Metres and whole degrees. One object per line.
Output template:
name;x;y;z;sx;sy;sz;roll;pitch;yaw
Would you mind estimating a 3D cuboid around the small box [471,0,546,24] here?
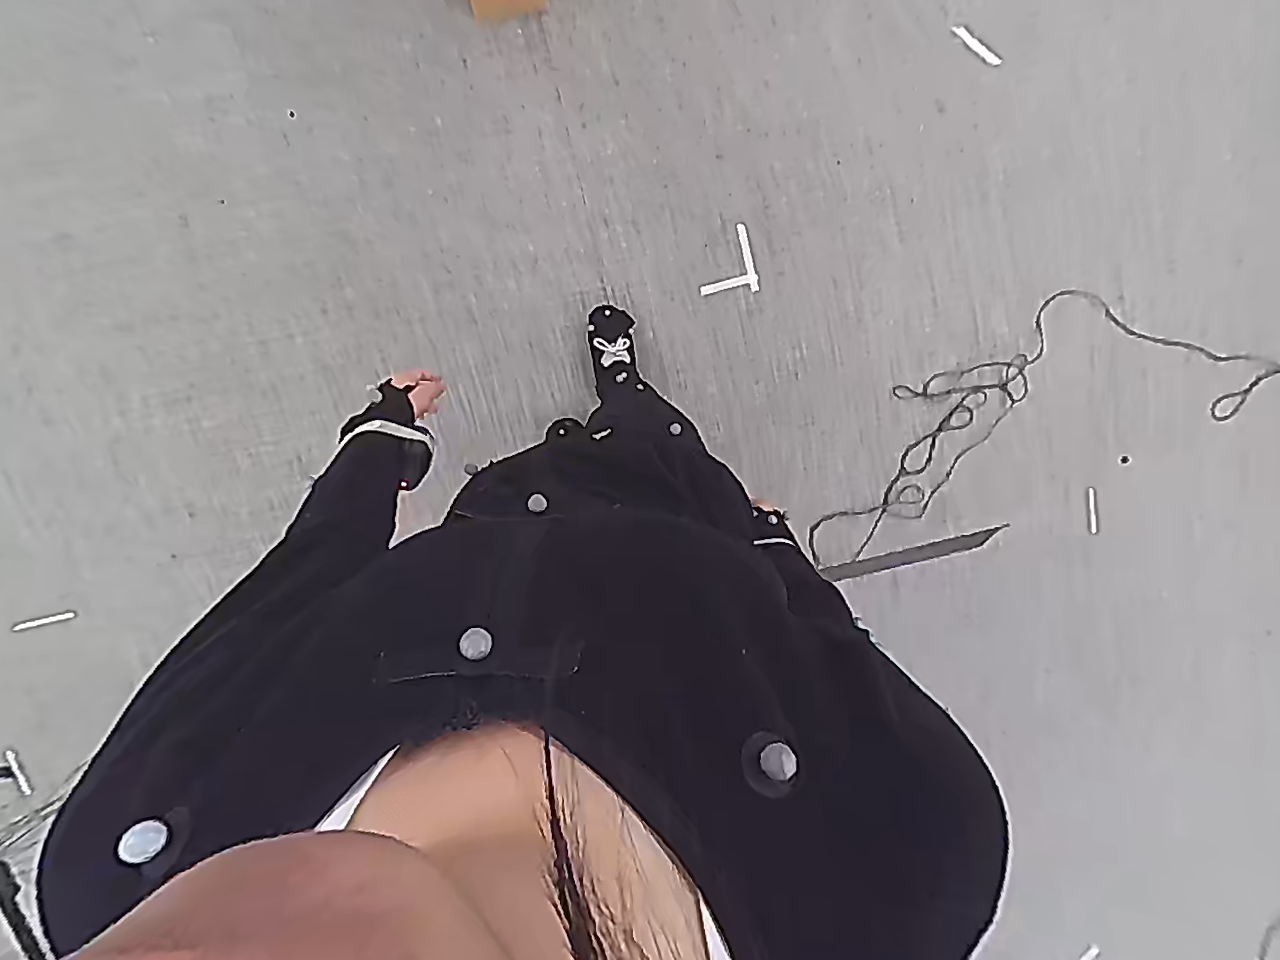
small box;-0.310;-1.168;1.201;0.179;0.176;0.168;-14;100;-3
